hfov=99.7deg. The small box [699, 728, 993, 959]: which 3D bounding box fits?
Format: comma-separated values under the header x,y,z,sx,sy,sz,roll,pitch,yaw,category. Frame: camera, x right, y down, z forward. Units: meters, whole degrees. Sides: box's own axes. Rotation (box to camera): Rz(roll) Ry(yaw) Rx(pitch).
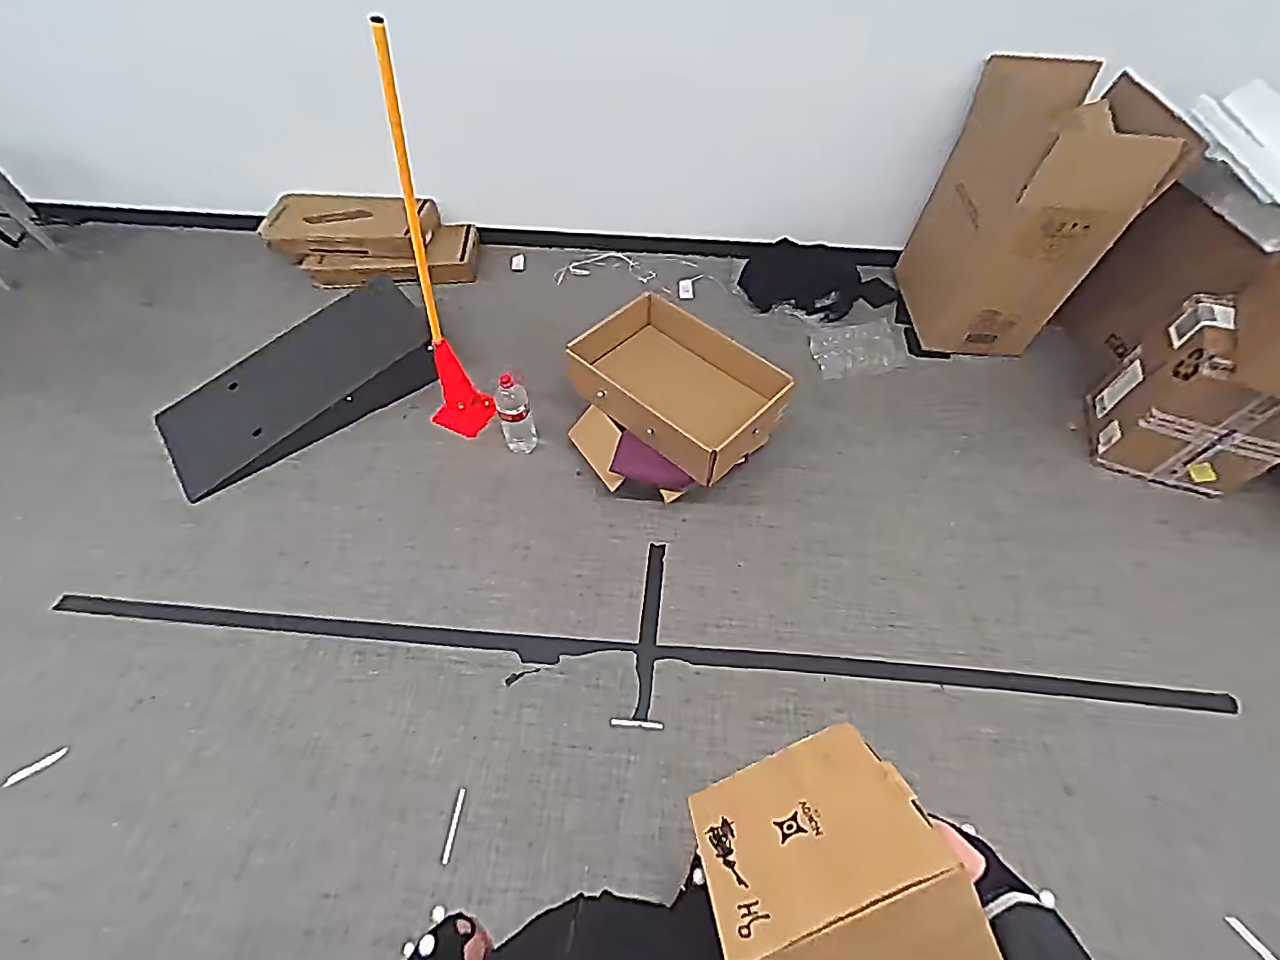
x,y,z,sx,sy,sz,roll,pitch,yaw,category
0.173,0.363,0.467,0.179,0.168,0.176,-24,98,-1,small box
